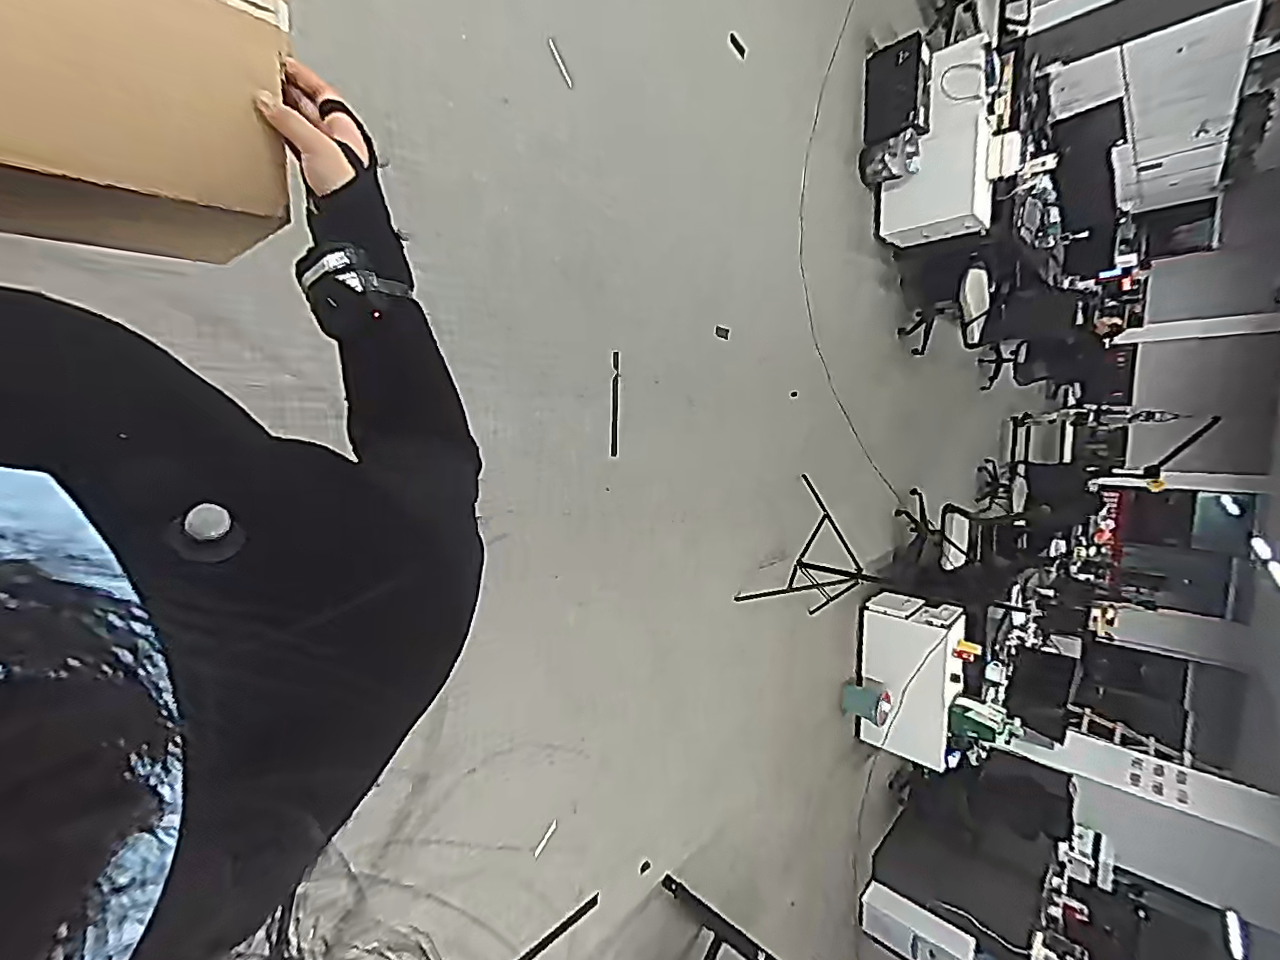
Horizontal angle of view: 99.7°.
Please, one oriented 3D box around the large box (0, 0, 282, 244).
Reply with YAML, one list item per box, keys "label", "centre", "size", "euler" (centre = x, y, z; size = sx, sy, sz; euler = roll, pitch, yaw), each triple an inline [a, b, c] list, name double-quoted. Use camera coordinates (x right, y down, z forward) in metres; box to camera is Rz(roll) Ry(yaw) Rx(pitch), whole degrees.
- label: "large box"
  centre: [-0.544, -0.386, 0.399]
  size: [0.408, 0.320, 0.320]
  euler: [-8, 104, -44]
